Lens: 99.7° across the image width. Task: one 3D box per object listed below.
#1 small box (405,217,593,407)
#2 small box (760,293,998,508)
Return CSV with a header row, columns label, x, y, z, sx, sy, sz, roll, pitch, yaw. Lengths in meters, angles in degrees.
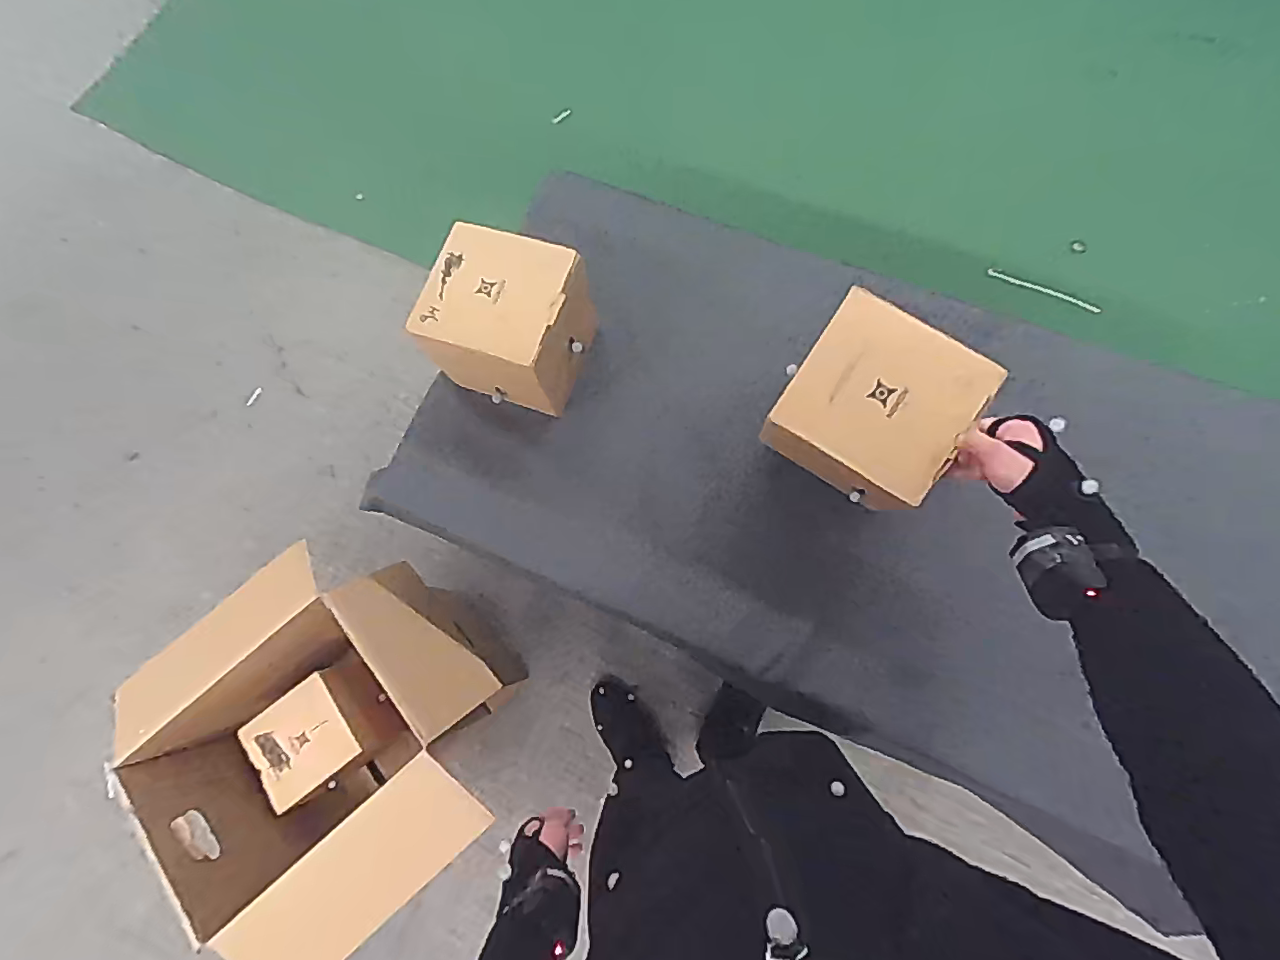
label,x,y,z,sx,sy,sz,roll,pitch,yaw
small box,-0.176,-0.218,0.743,0.179,0.176,0.168,19,78,8
small box,0.258,-0.080,0.633,0.179,0.176,0.168,31,91,11
